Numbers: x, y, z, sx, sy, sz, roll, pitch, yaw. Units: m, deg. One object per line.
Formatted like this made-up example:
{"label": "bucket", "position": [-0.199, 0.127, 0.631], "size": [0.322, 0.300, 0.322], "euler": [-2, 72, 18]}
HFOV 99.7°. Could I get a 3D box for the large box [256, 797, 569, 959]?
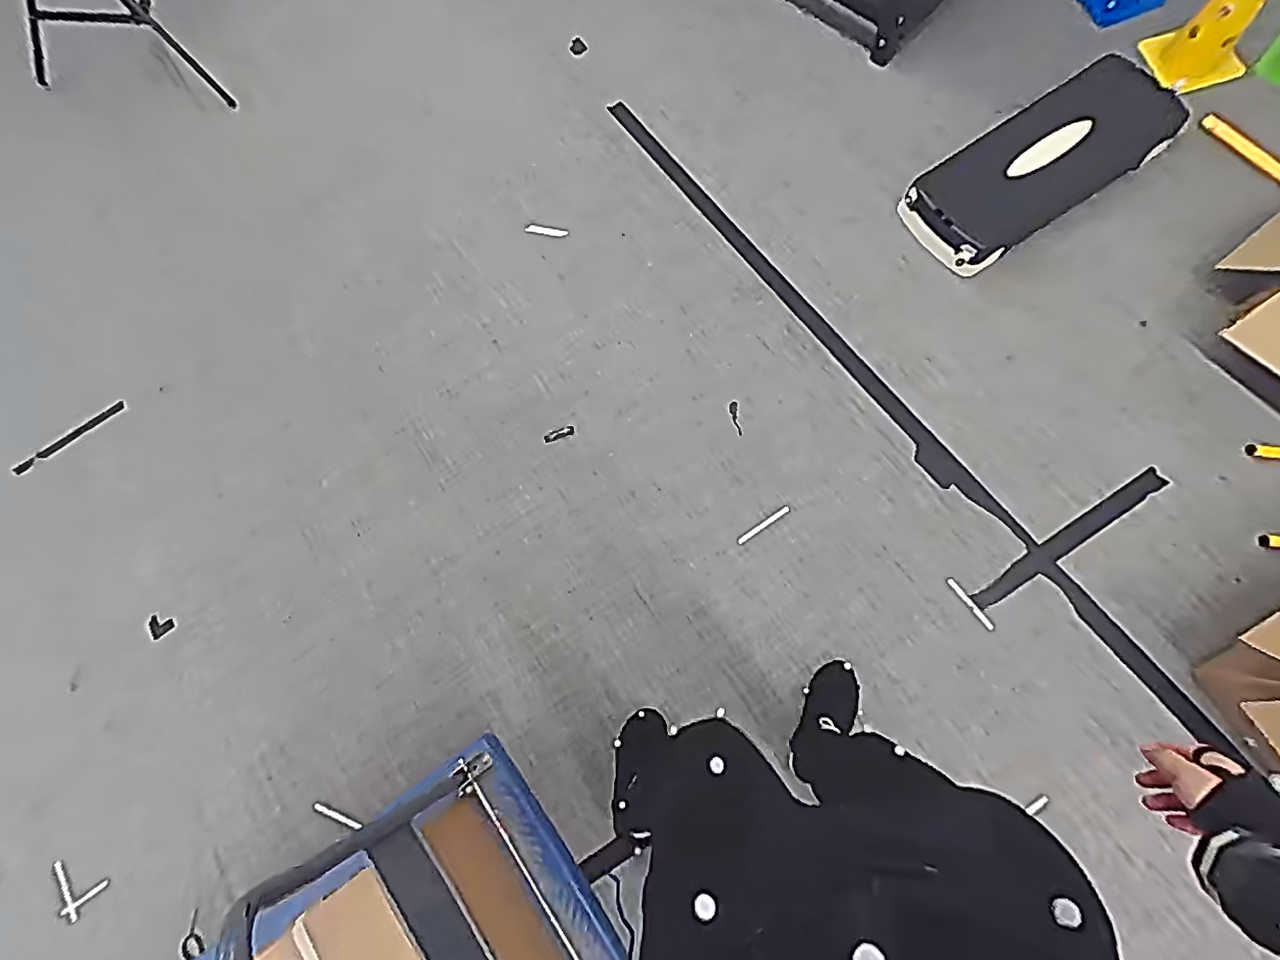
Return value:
{"label": "large box", "position": [-0.371, 0.865, 0.935], "size": [0.320, 0.320, 0.408], "euler": [-38, 74, -3]}
